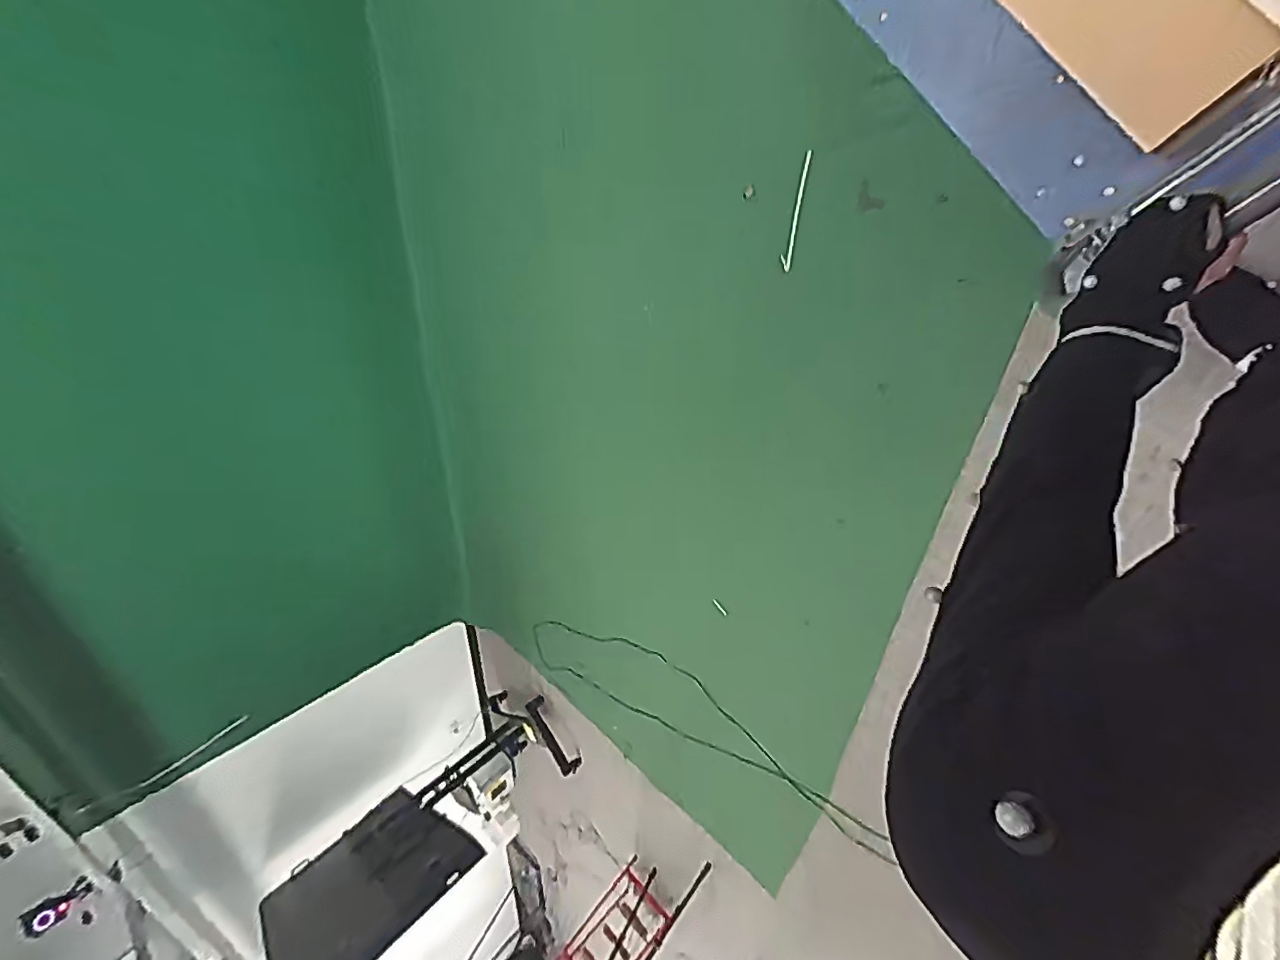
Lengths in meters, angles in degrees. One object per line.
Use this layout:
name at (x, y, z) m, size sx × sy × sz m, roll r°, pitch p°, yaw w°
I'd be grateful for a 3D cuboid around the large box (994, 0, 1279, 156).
large box at (0.797, -0.747, 0.784) m, size 0.408 × 0.320 × 0.320 m, roll 56°, pitch 139°, yaw 9°
